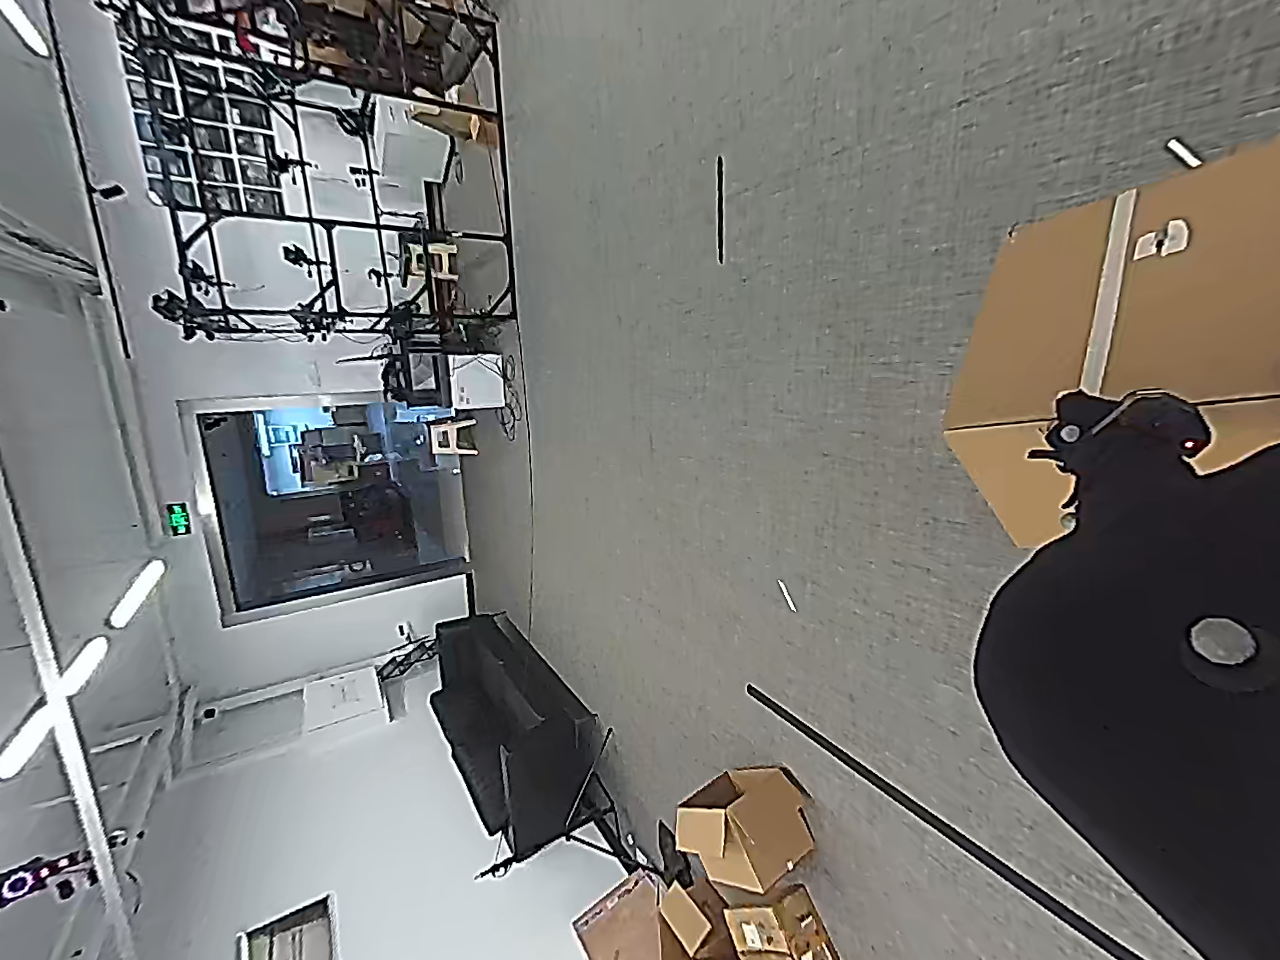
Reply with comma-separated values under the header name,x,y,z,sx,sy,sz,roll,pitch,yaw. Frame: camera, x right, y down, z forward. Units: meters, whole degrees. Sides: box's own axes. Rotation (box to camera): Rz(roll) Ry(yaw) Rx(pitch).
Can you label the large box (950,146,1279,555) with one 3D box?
name,x,y,z,sx,sy,sz,roll,pitch,yaw
large box,0.700,-0.146,0.754,0.320,0.320,0.408,-3,51,55
